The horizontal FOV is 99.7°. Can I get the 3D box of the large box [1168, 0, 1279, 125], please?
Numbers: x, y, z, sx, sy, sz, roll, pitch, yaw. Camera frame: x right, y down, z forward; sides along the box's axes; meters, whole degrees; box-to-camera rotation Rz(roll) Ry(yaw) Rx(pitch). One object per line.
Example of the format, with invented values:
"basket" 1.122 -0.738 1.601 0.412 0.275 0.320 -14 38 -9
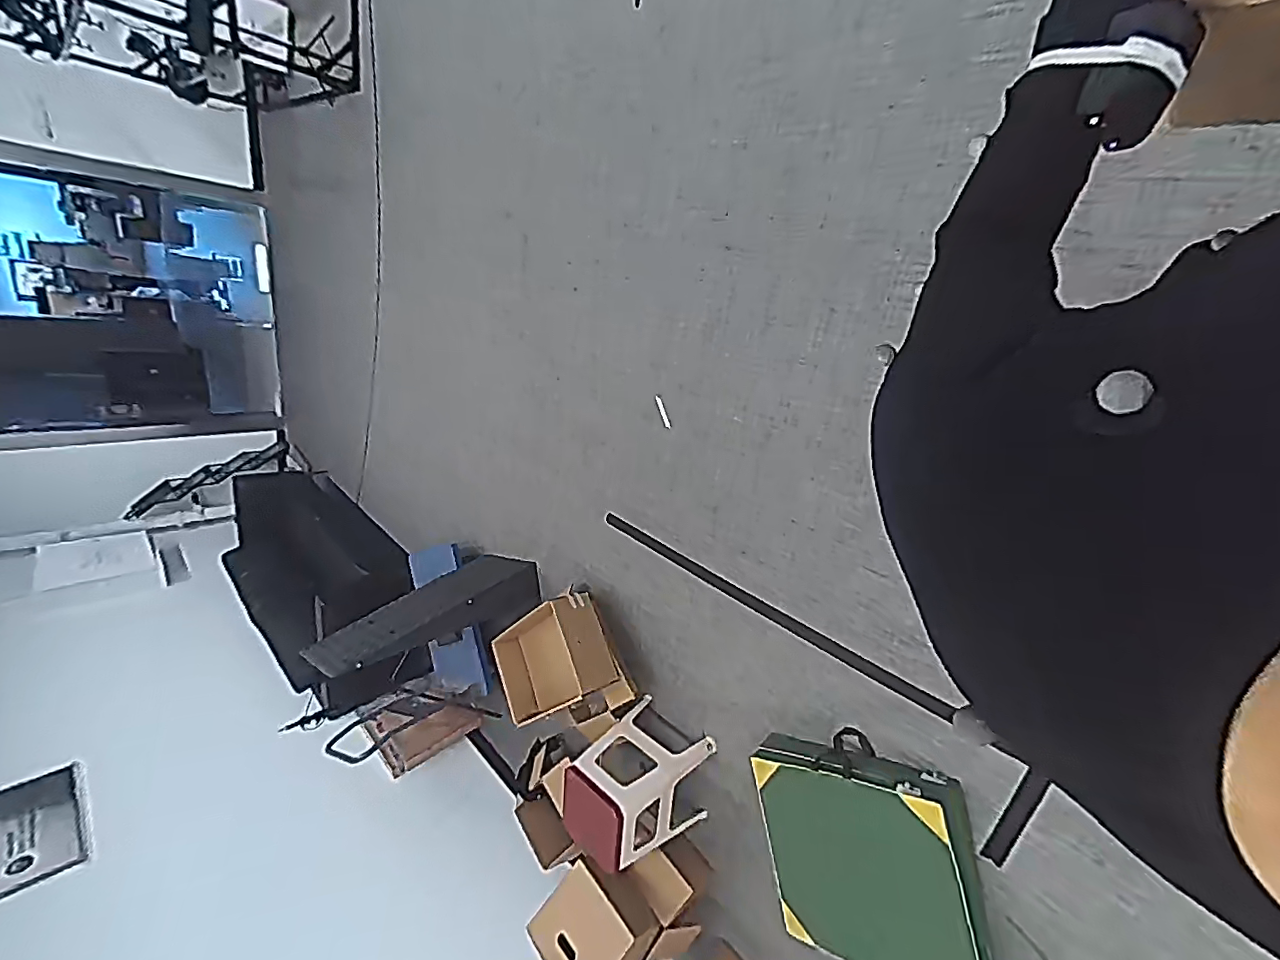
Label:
"large box" 0.612 -0.421 0.292 0.408 0.320 0.320 25 120 38
